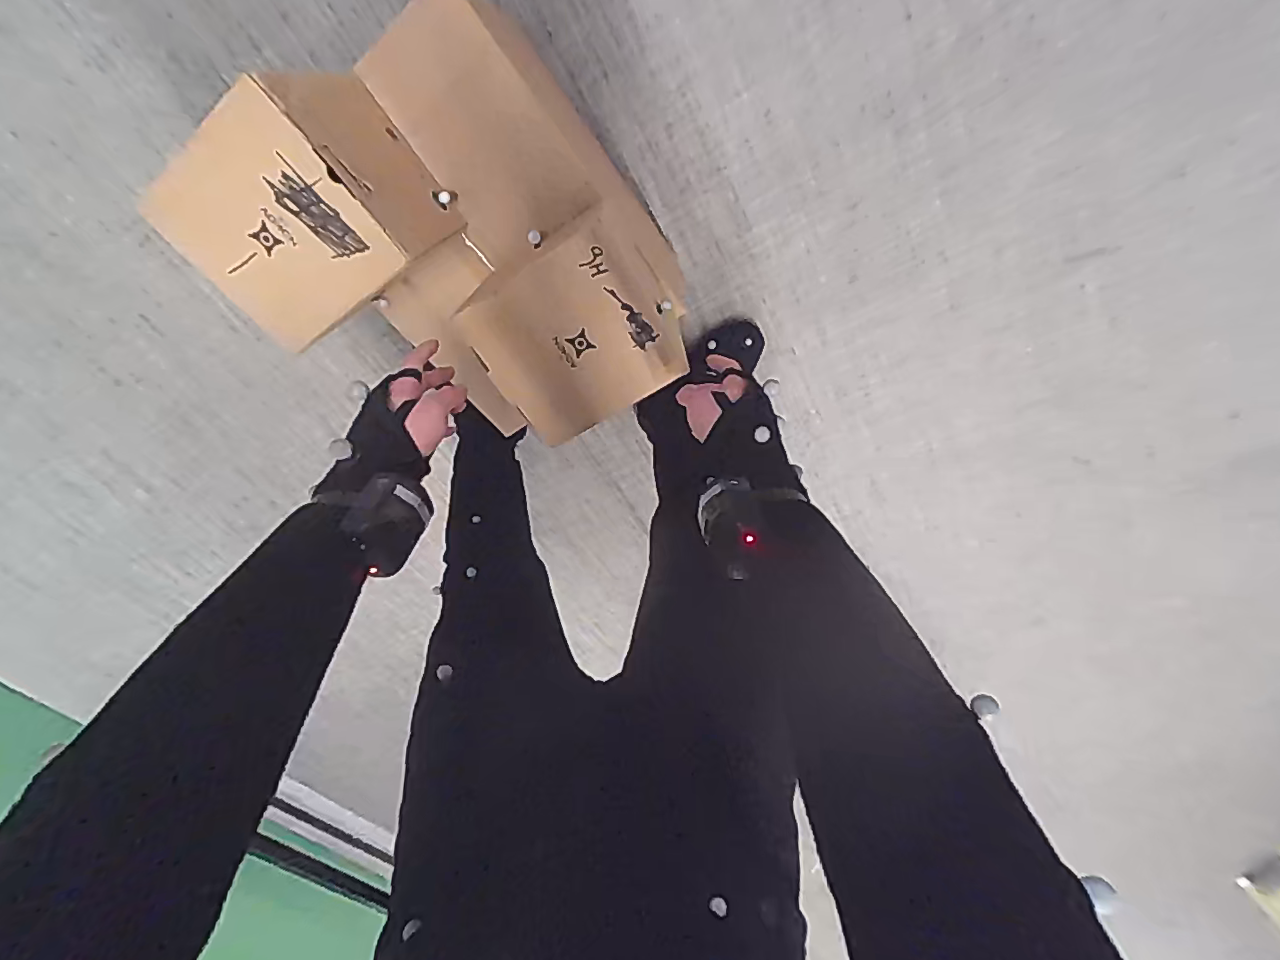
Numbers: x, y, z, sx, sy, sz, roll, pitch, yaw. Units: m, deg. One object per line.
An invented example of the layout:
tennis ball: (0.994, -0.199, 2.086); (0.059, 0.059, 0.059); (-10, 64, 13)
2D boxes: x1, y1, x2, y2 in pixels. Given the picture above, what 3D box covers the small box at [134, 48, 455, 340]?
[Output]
small box: (-0.305, -0.273, 0.525); (0.179, 0.176, 0.168); (-26, 120, 20)
